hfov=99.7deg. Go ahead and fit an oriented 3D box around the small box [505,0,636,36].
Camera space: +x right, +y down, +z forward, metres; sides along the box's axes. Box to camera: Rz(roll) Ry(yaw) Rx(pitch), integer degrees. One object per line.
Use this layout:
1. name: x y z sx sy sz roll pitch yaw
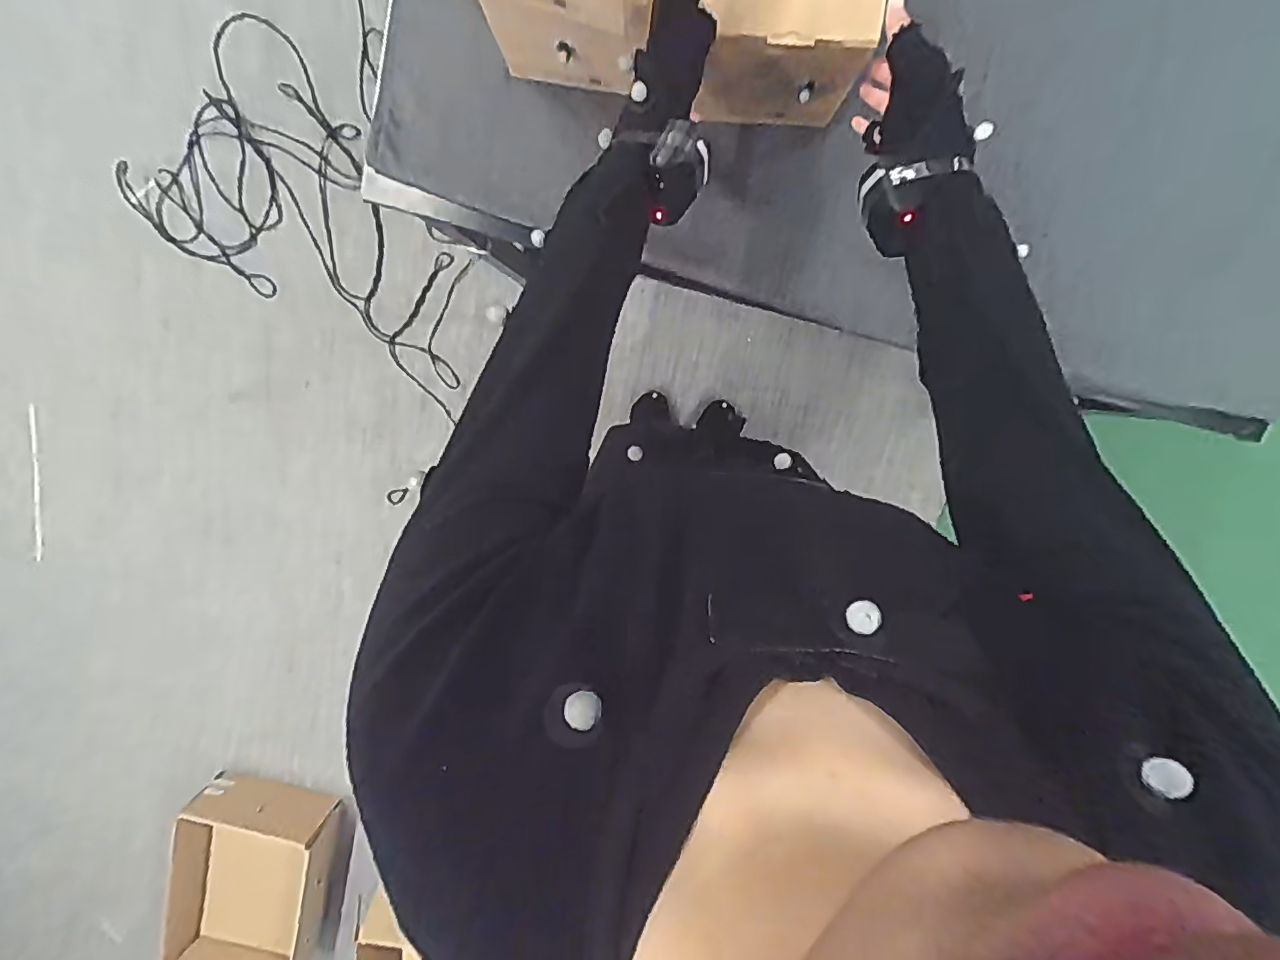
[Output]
1. small box: -0.066 -0.491 0.397 0.168 0.176 0.179 16 101 -2
